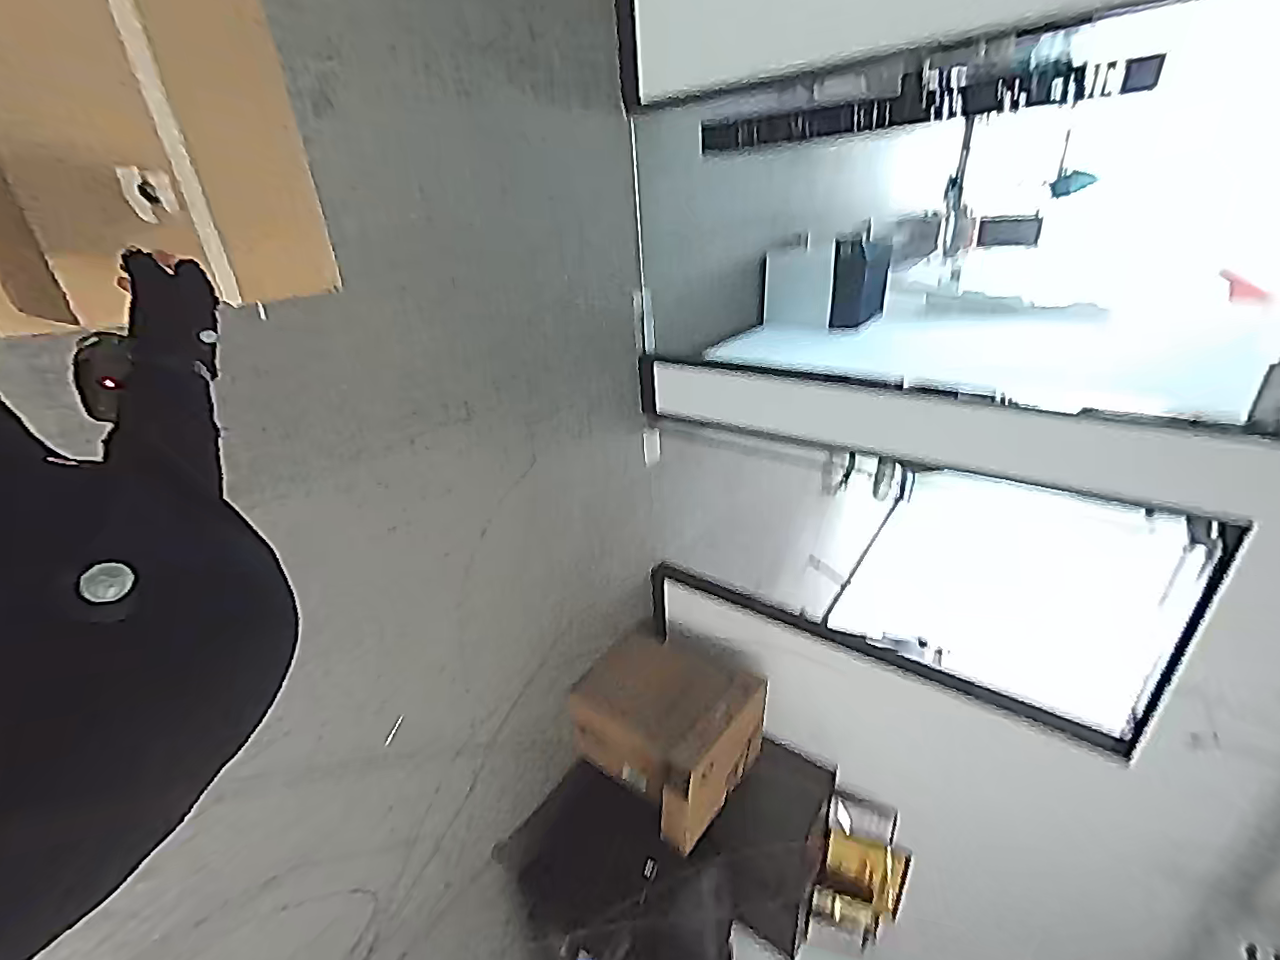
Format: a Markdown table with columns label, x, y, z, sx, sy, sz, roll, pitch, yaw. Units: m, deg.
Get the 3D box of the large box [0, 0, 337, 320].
| label | x | y | z | sx | sy | sz | roll | pitch | yaw |
| --- | --- | --- | --- | --- | --- | --- | --- | --- | --- |
| large box | -0.689 | -0.452 | 0.715 | 0.320 | 0.320 | 0.408 | -35 | 132 | -48 |
